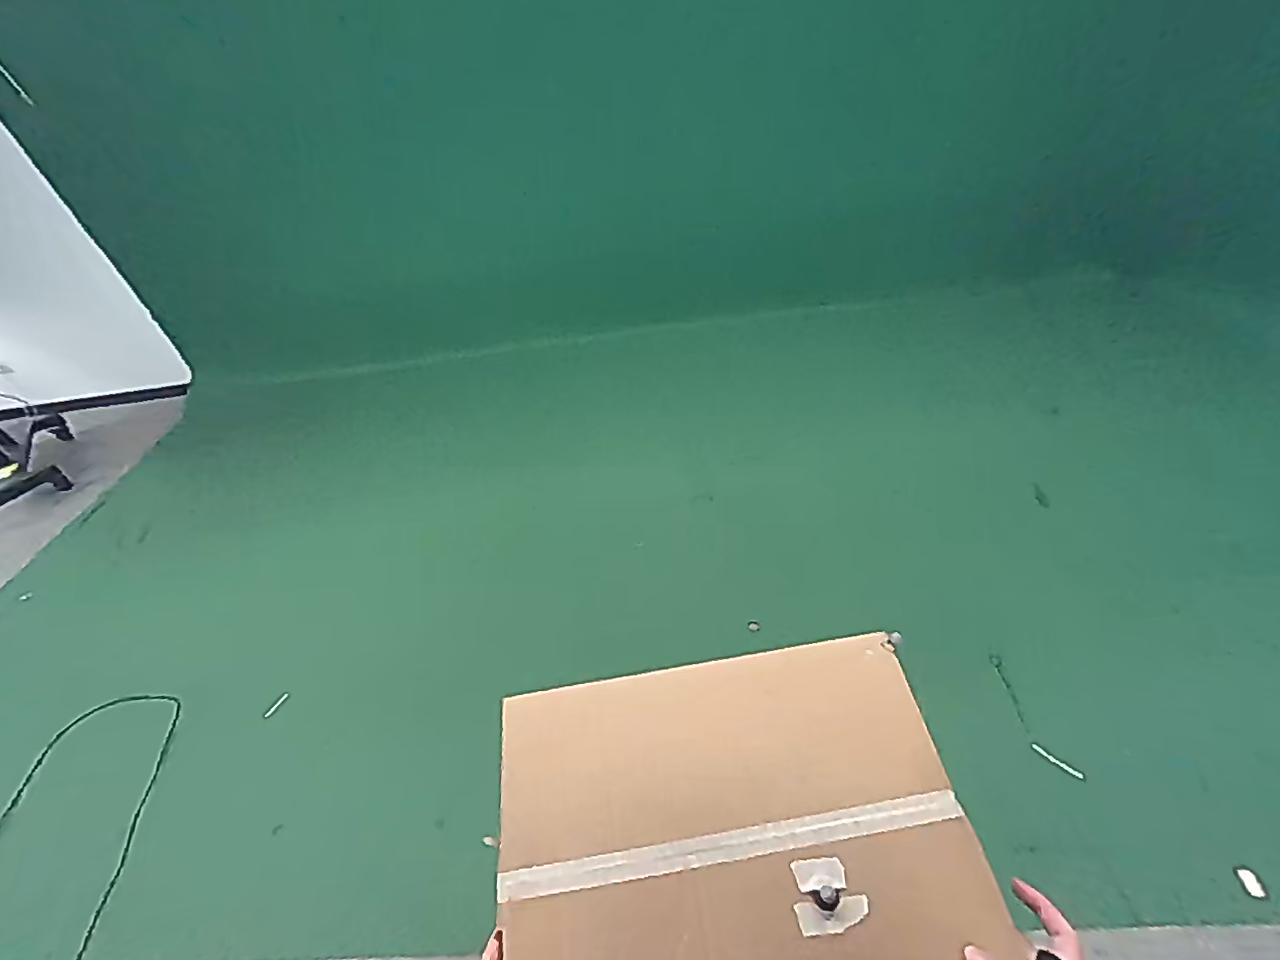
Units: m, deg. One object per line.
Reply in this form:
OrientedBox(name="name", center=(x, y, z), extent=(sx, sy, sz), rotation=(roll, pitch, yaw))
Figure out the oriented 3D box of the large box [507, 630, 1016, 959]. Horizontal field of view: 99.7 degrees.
OrientedBox(name="large box", center=(0.089, 0.403, 0.605), extent=(0.408, 0.320, 0.320), rotation=(-10, 55, -2))
